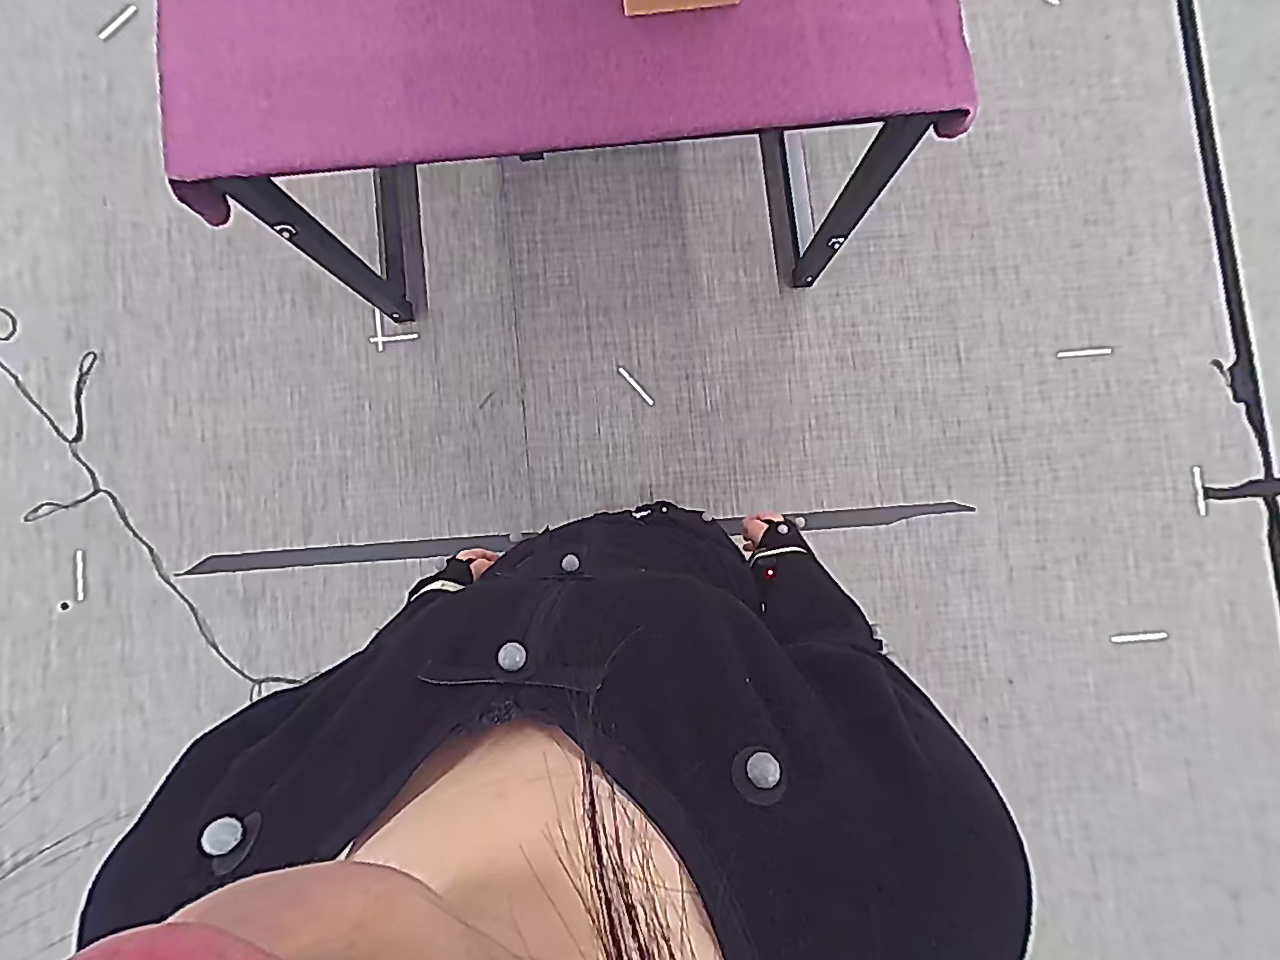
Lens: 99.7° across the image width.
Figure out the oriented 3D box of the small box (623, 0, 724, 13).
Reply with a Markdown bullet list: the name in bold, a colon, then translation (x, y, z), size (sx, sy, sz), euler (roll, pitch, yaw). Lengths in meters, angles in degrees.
- **small box**: translation (0.055, -0.796, 0.742), size (0.179, 0.176, 0.168), euler (-6, 86, 0)
